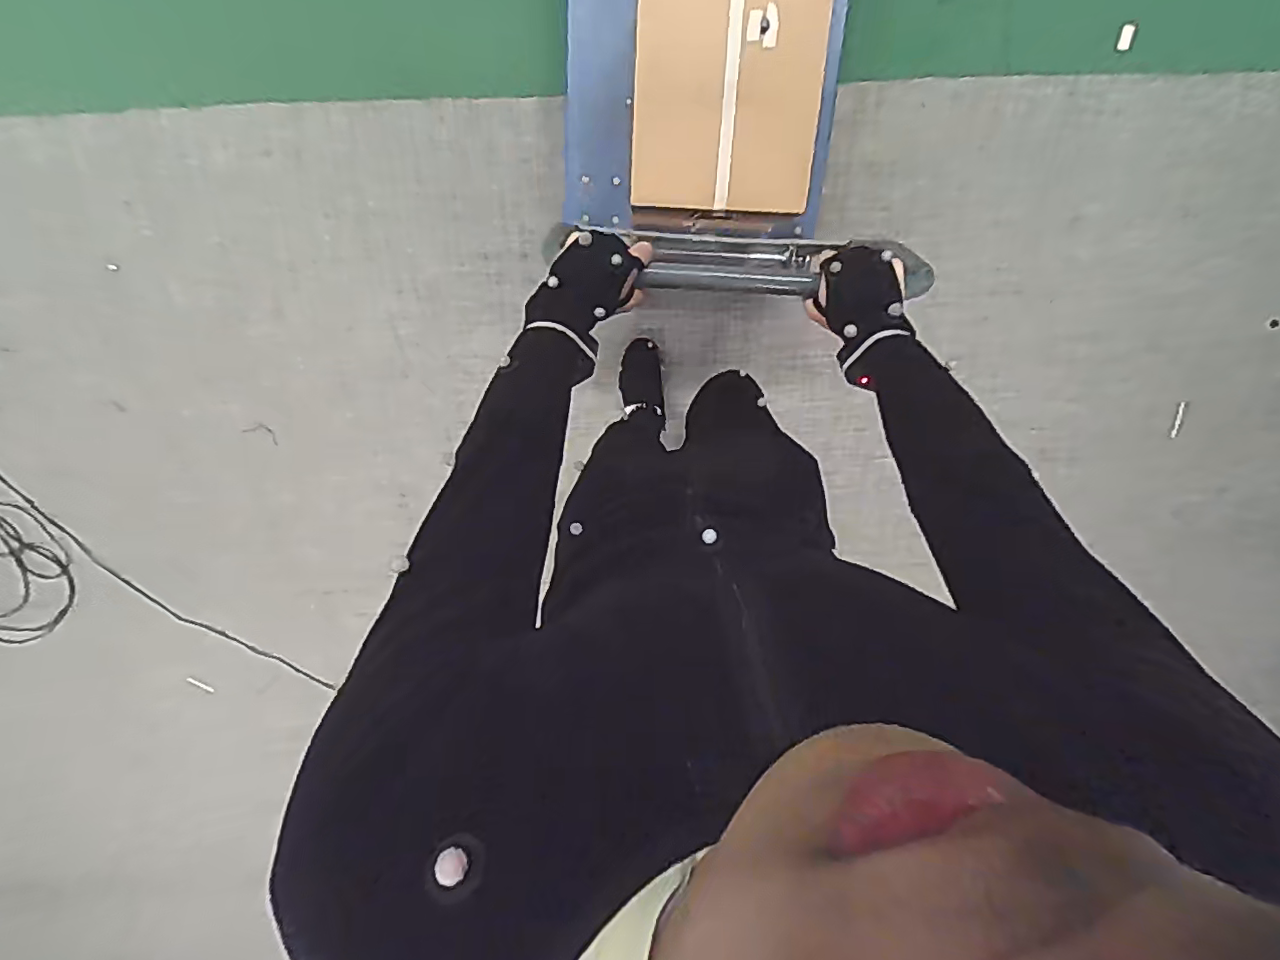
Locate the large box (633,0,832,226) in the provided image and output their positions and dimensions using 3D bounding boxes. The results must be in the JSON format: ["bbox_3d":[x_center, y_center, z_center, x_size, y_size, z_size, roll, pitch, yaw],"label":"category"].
[{"bbox_3d":[0.149,-0.721,1.030,0.320,0.320,0.408,2,109,-1],"label":"large box"}]
